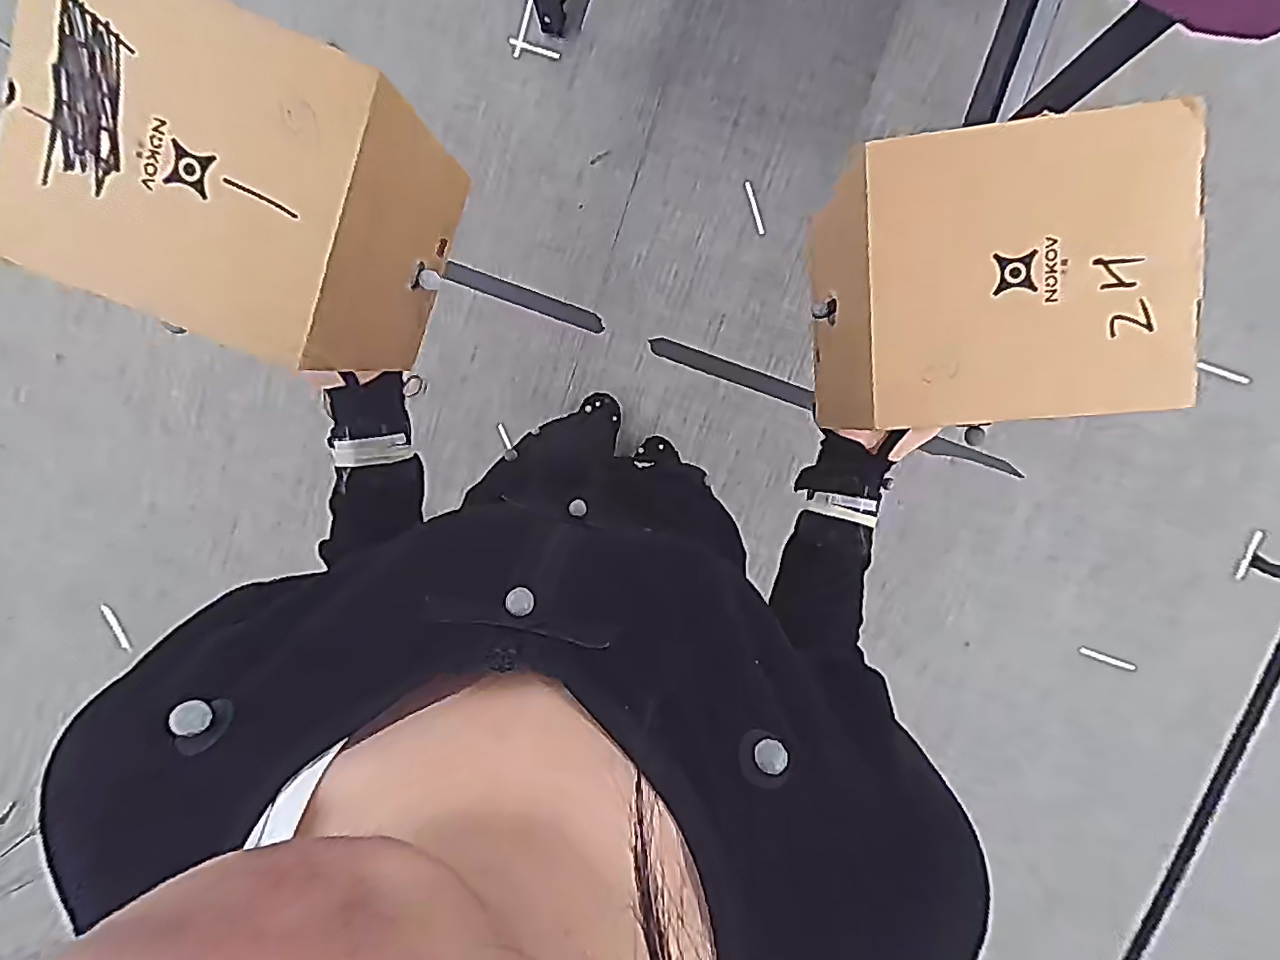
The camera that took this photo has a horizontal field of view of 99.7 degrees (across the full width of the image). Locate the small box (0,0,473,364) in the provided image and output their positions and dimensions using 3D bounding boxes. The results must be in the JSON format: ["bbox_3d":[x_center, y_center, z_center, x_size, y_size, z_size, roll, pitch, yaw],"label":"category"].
[{"bbox_3d":[-0.237,-0.184,0.359,0.179,0.176,0.168,22,101,-6],"label":"small box"}]

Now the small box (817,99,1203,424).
[{"bbox_3d":[0.228,-0.127,0.385,0.179,0.176,0.168,-3,96,7],"label":"small box"}]
